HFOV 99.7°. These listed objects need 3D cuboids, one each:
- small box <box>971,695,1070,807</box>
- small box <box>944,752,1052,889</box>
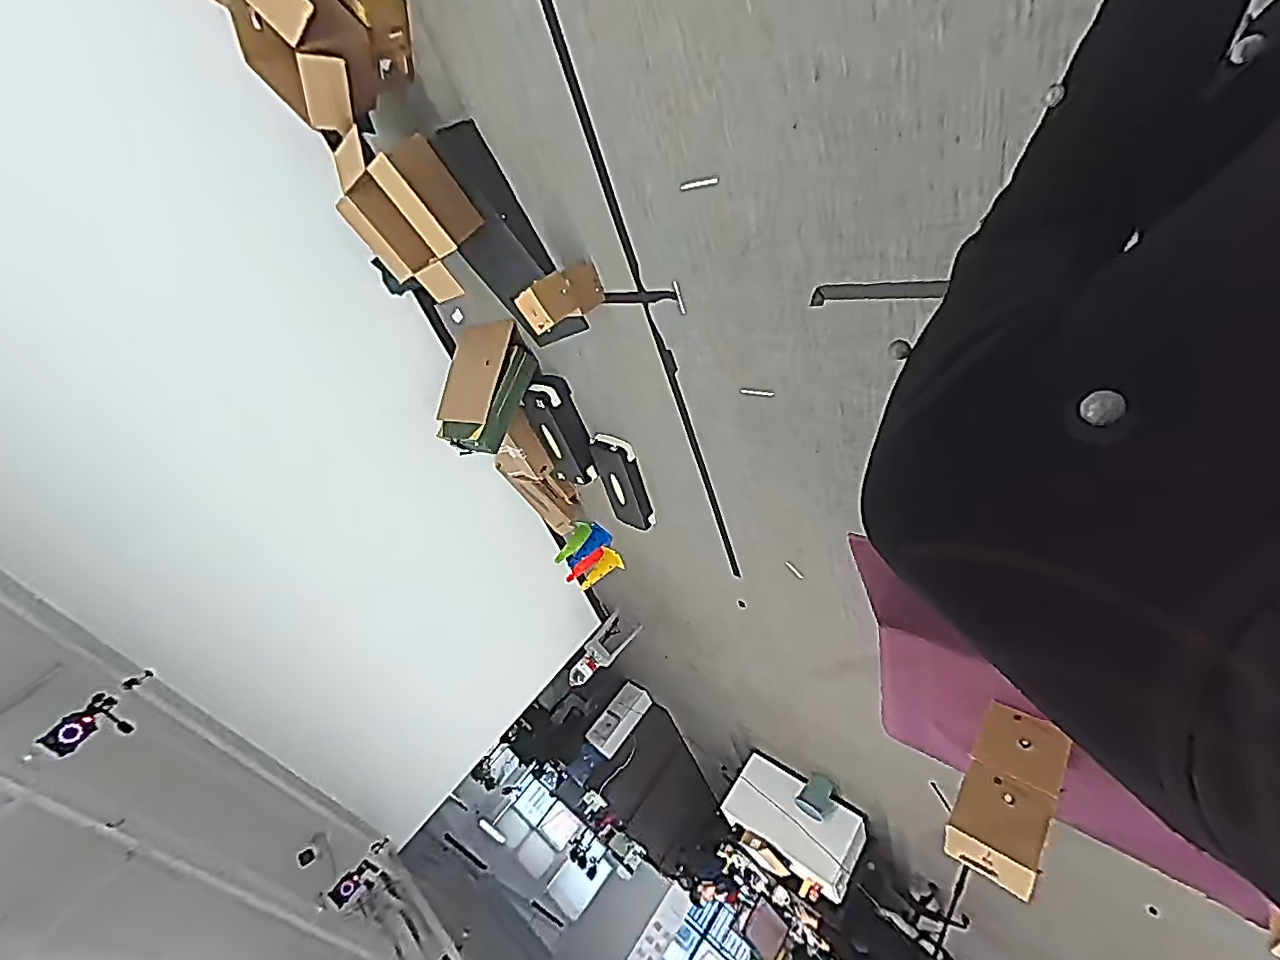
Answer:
[{"bbox_3d":[0.907,0.655,1.299,0.168,0.176,0.179,16,140,41],"label":"small box"},{"bbox_3d":[0.808,0.764,1.225,0.168,0.176,0.179,16,139,41],"label":"small box"}]
